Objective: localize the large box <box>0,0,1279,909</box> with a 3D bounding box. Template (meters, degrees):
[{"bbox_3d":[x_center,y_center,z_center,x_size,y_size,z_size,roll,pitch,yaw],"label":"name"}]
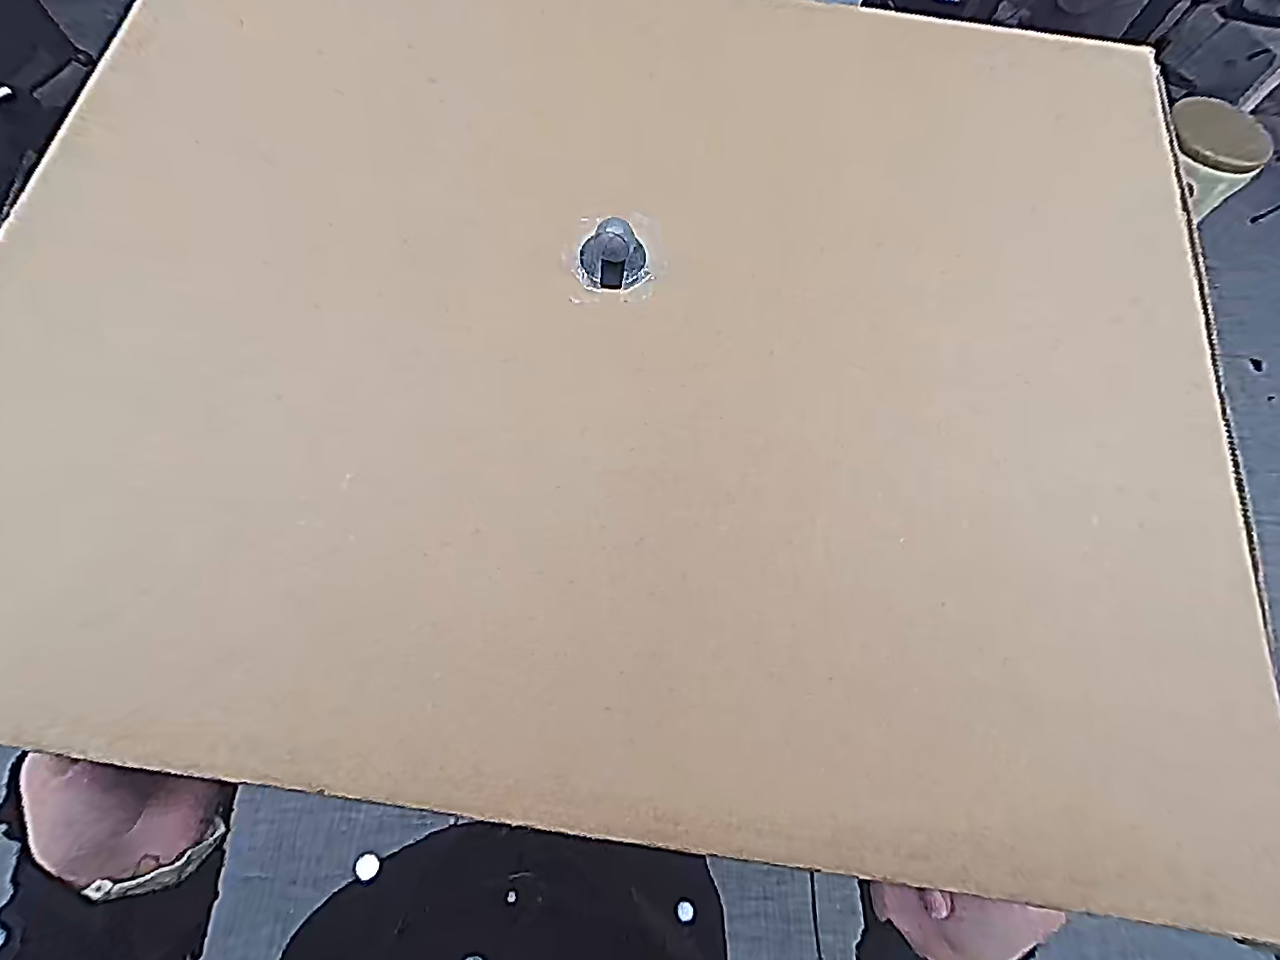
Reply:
[{"bbox_3d":[-0.027,-0.023,0.319,0.408,0.320,0.320,7,75,2],"label":"large box"}]
